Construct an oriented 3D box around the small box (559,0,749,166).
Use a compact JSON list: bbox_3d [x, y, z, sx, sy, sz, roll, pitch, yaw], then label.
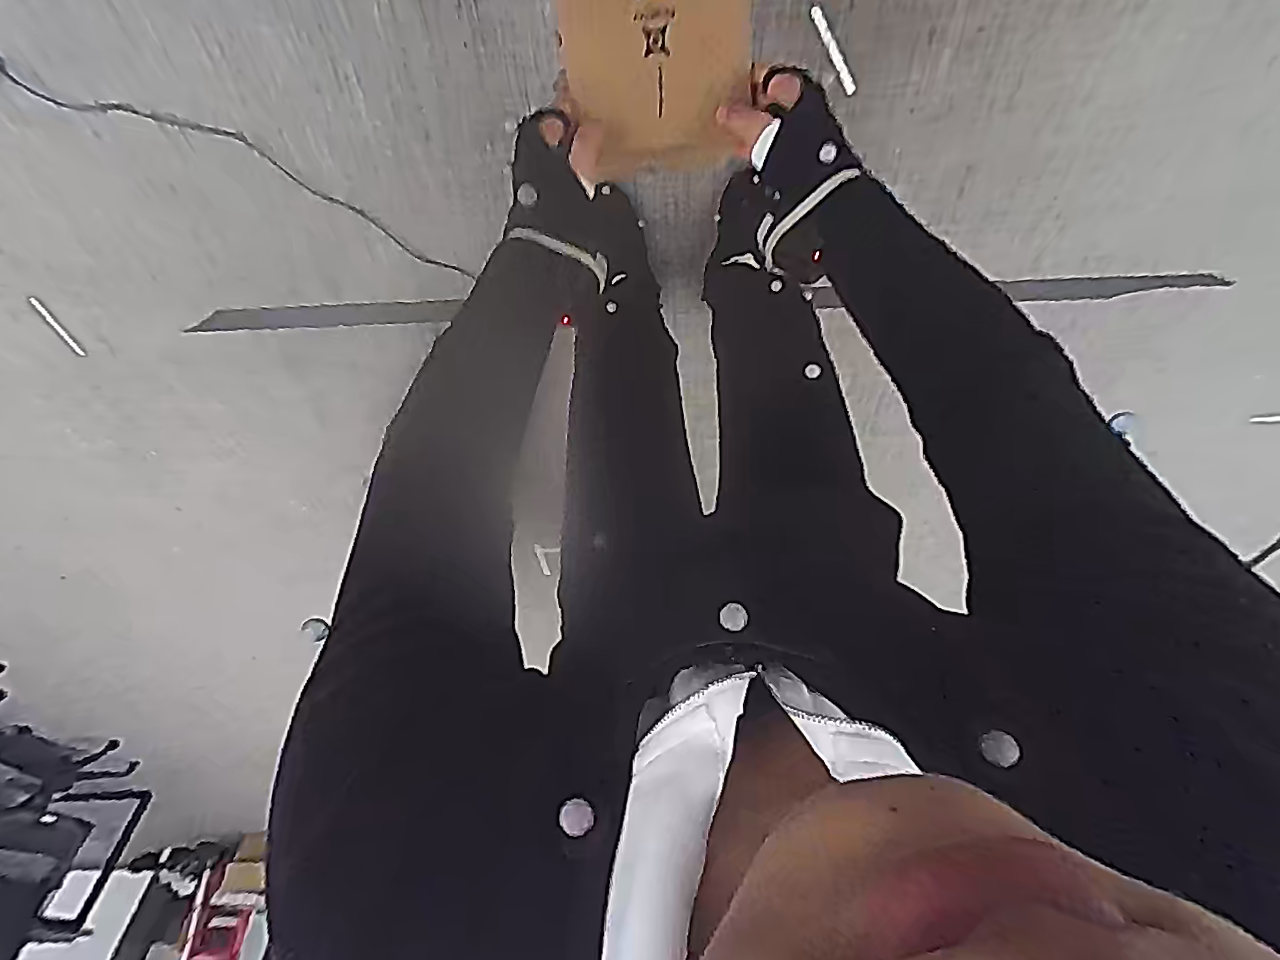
[{"bbox_3d":[0.008,-0.430,0.538,0.168,0.176,0.179,-6,113,0],"label":"small box"}]
